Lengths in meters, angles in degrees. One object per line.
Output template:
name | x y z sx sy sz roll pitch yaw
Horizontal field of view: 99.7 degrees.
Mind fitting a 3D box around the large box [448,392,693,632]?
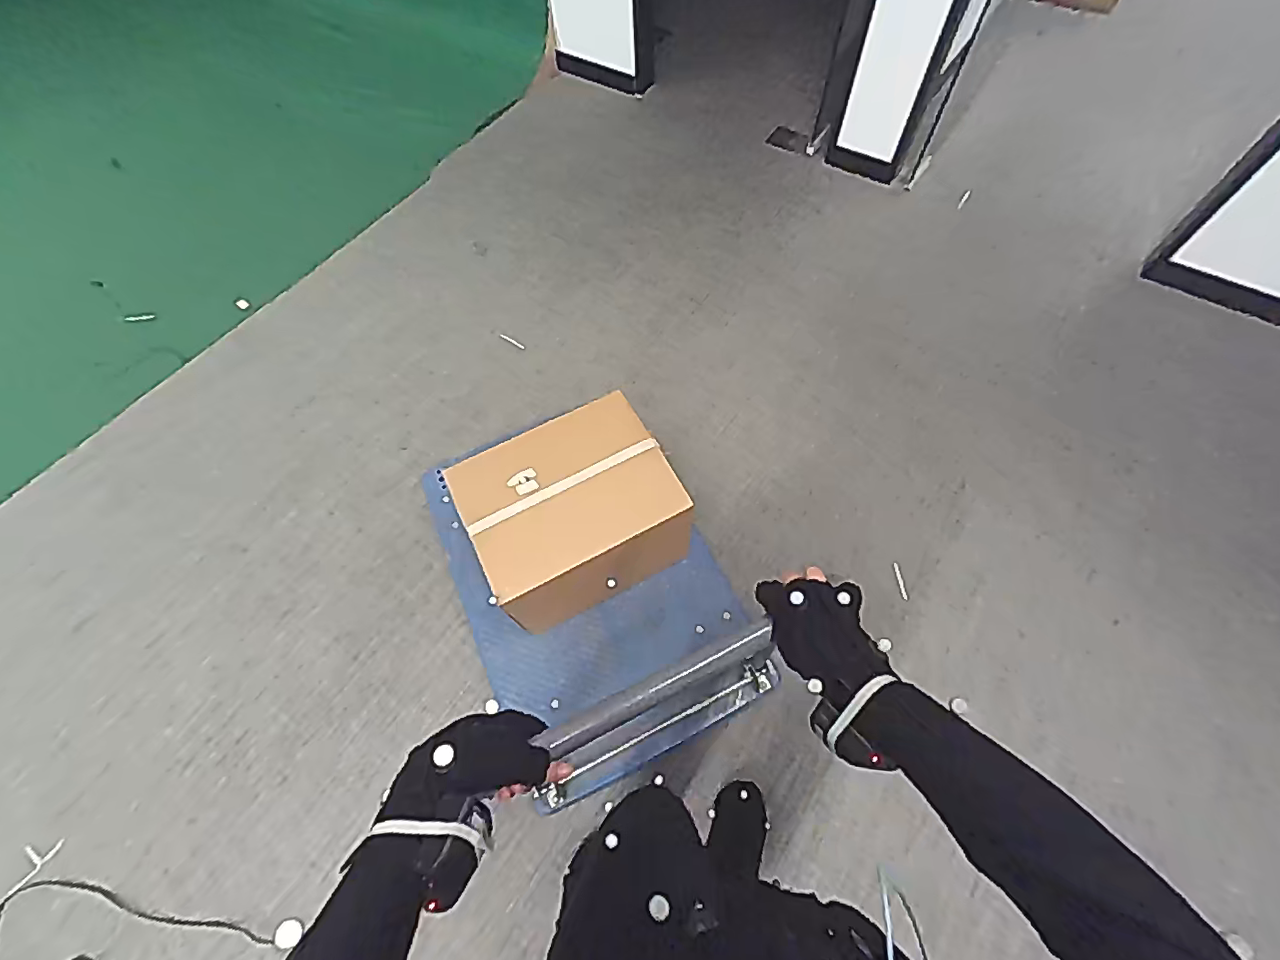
large box | -0.135 0.080 1.192 0.408 0.320 0.320 -27 65 -10
